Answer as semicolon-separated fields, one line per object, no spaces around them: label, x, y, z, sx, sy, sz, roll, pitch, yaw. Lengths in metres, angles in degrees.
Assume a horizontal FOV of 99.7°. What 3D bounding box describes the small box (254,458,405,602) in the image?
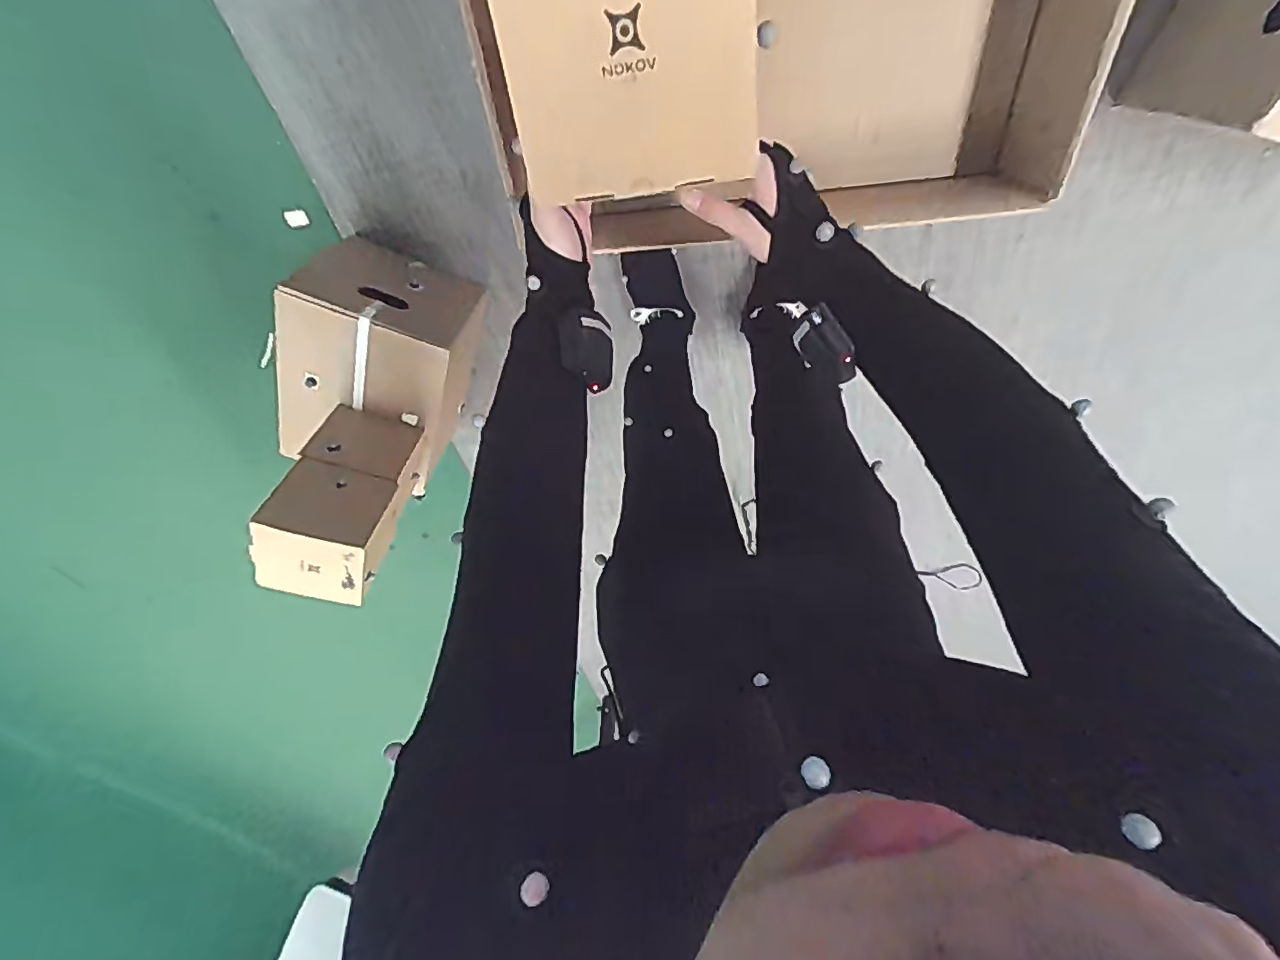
small box;-0.544;0.084;0.963;0.179;0.176;0.168;17;129;-13

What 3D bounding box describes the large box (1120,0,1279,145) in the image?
large box;1.080;-0.668;0.790;0.408;0.320;0.320;10;130;-5

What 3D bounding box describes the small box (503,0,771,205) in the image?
small box;0.004;-0.326;0.406;0.168;0.176;0.179;-4;127;8

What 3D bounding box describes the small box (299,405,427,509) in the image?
small box;-0.551;-0.026;1.084;0.179;0.176;0.168;17;129;-14
